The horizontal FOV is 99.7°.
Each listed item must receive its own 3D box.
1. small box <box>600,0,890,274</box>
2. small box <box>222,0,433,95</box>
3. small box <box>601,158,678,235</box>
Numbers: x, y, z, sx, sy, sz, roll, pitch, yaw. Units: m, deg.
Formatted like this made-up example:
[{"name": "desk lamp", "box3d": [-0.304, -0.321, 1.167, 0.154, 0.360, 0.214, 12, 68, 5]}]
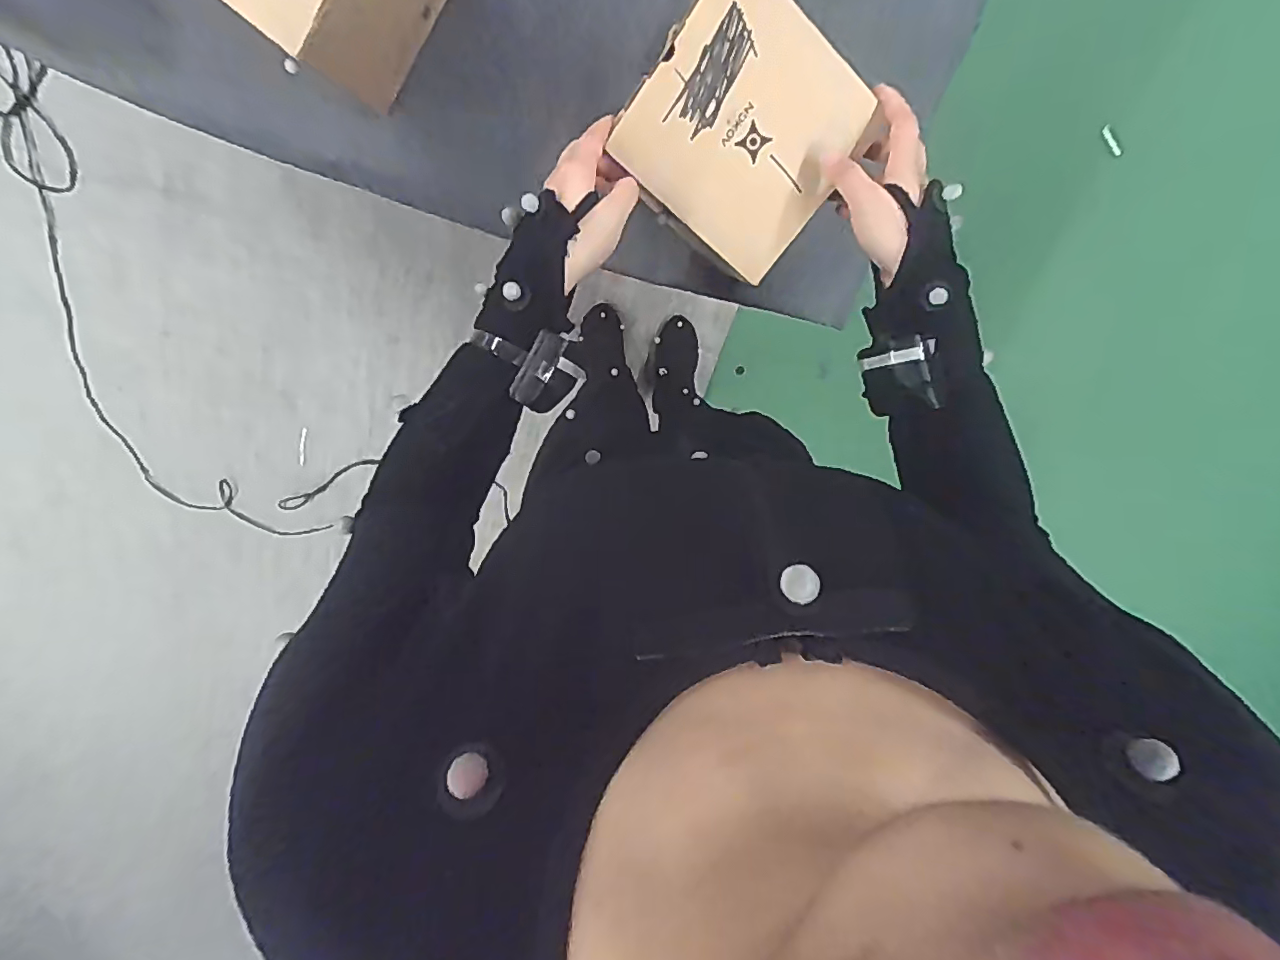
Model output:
[{"name": "small box", "box3d": [0.082, -0.318, 0.503, 0.179, 0.176, 0.168, 36, 110, -17]}, {"name": "small box", "box3d": [-0.285, -0.460, 0.444, 0.179, 0.176, 0.168, 35, 105, -13]}, {"name": "small box", "box3d": [0.015, -0.639, 1.165, 0.168, 0.176, 0.179, 11, 113, -7]}]
